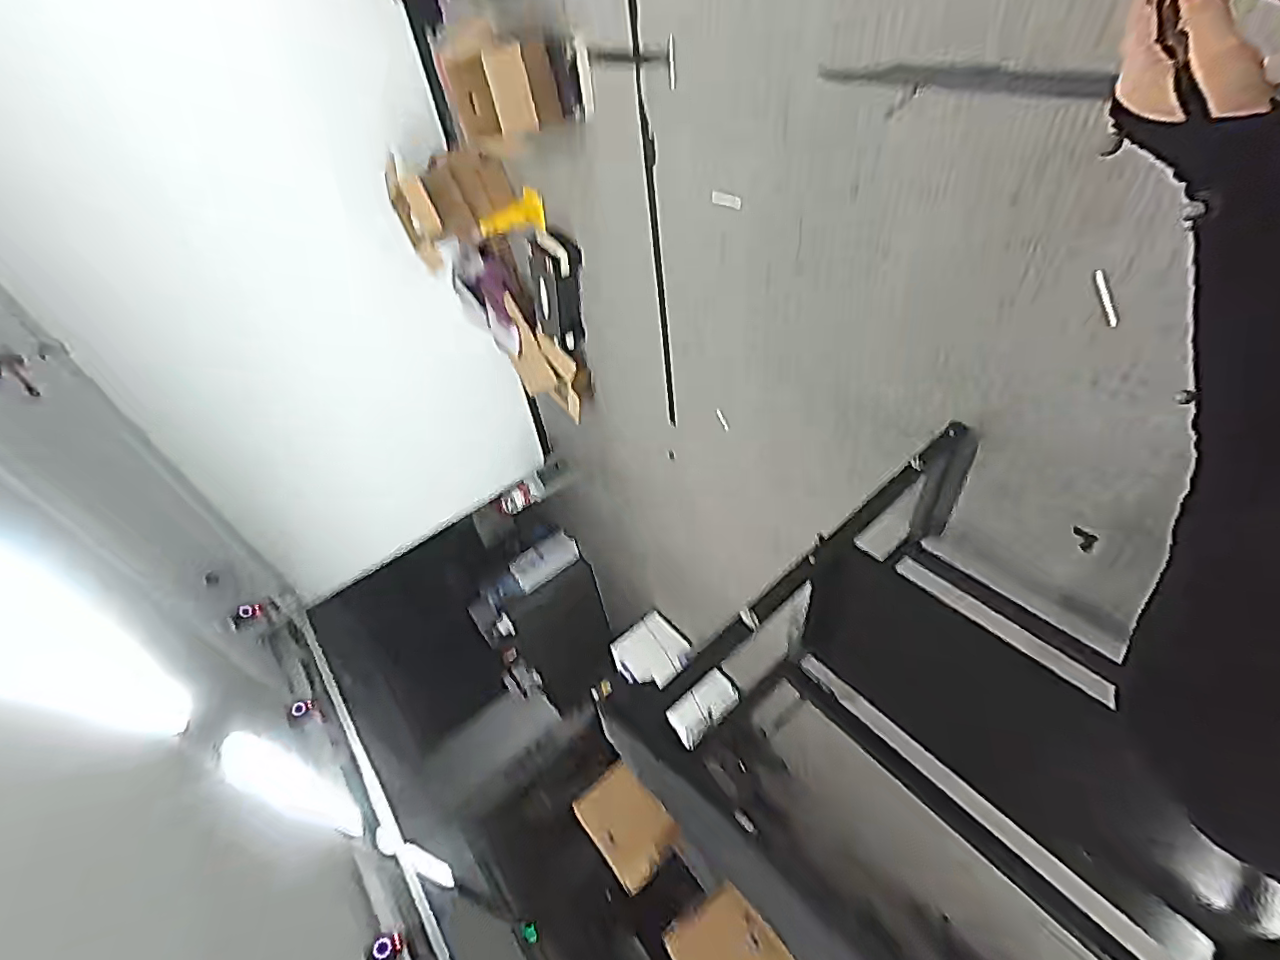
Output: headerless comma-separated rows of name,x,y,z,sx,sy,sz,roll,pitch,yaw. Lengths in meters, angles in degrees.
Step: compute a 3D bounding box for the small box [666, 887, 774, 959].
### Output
small box,0.178,1.046,1.191,0.168,0.176,0.179,37,151,35
